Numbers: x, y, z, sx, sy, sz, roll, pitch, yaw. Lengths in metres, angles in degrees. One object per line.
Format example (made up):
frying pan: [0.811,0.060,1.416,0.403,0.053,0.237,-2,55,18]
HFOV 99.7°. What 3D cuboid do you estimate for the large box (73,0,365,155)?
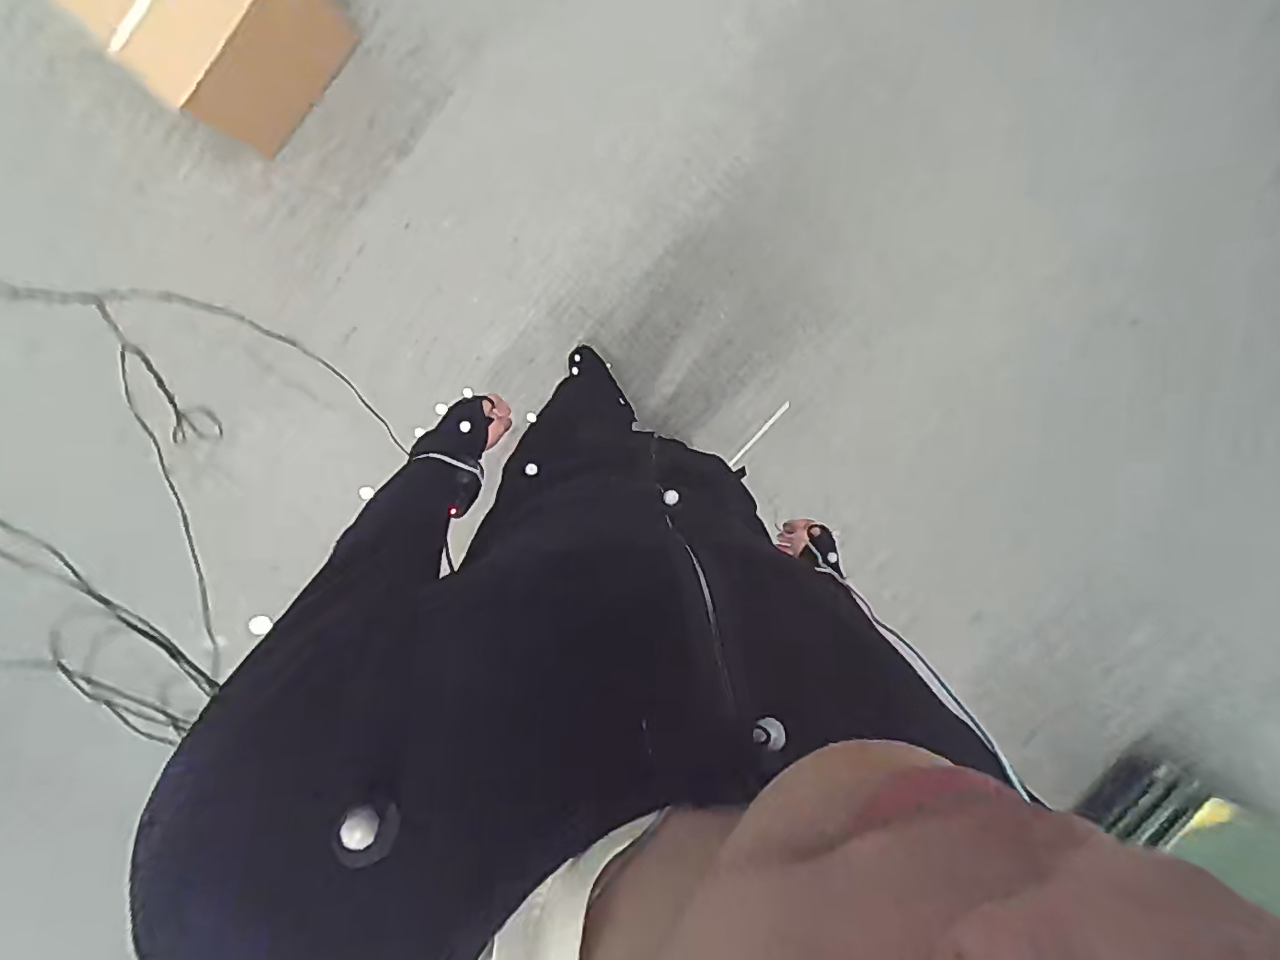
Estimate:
large box: [-0.945,-1.075,1.253,0.320,0.320,0.408,43,98,-9]
